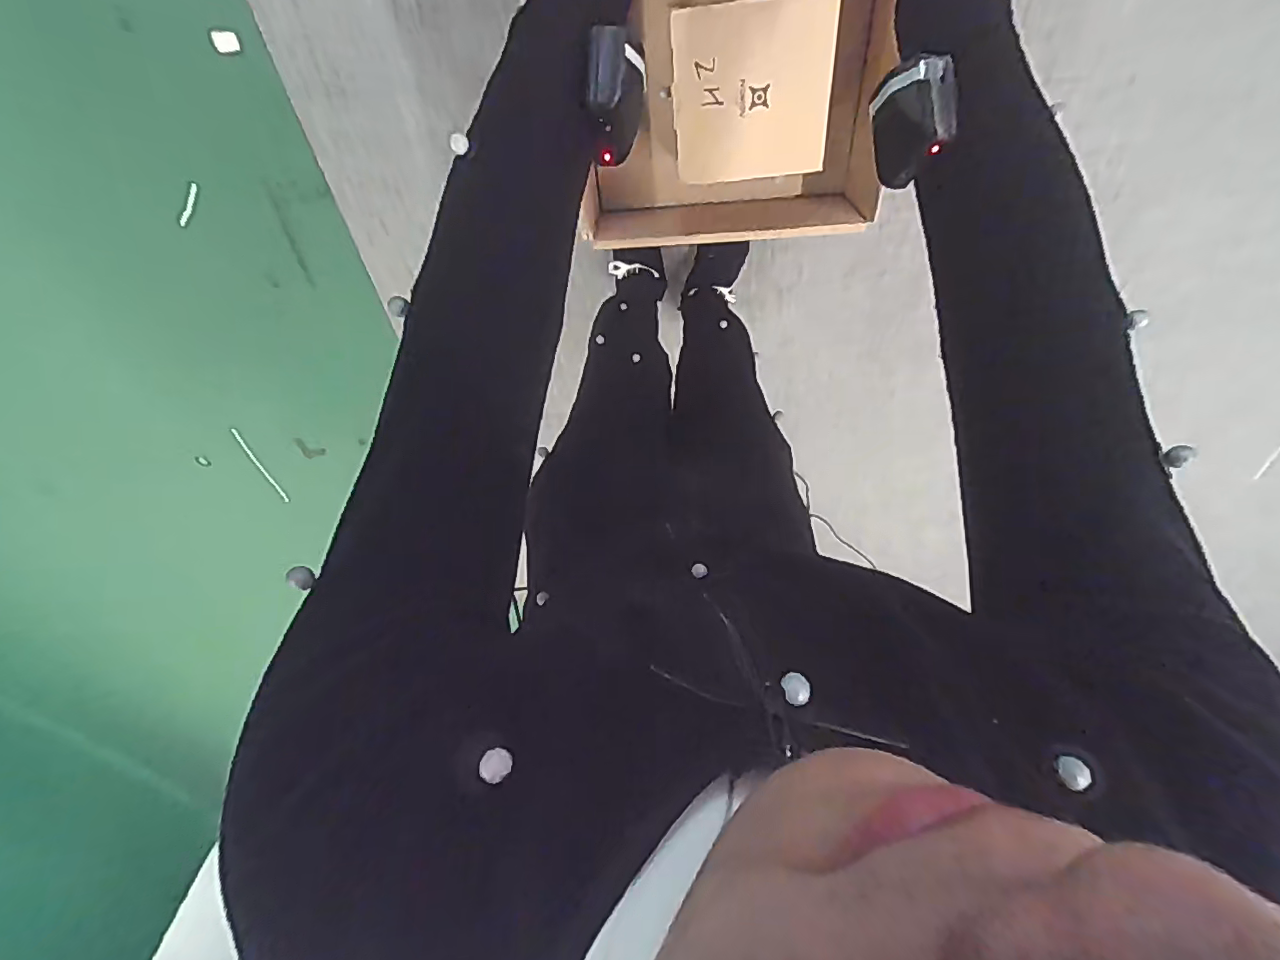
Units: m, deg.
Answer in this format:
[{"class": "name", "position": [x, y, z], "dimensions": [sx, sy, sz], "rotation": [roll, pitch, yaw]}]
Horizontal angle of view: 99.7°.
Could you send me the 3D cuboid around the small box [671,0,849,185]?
[{"class": "small box", "position": [0.131, -0.476, 0.656], "dimensions": [0.179, 0.176, 0.168], "rotation": [-3, 131, 4]}]
